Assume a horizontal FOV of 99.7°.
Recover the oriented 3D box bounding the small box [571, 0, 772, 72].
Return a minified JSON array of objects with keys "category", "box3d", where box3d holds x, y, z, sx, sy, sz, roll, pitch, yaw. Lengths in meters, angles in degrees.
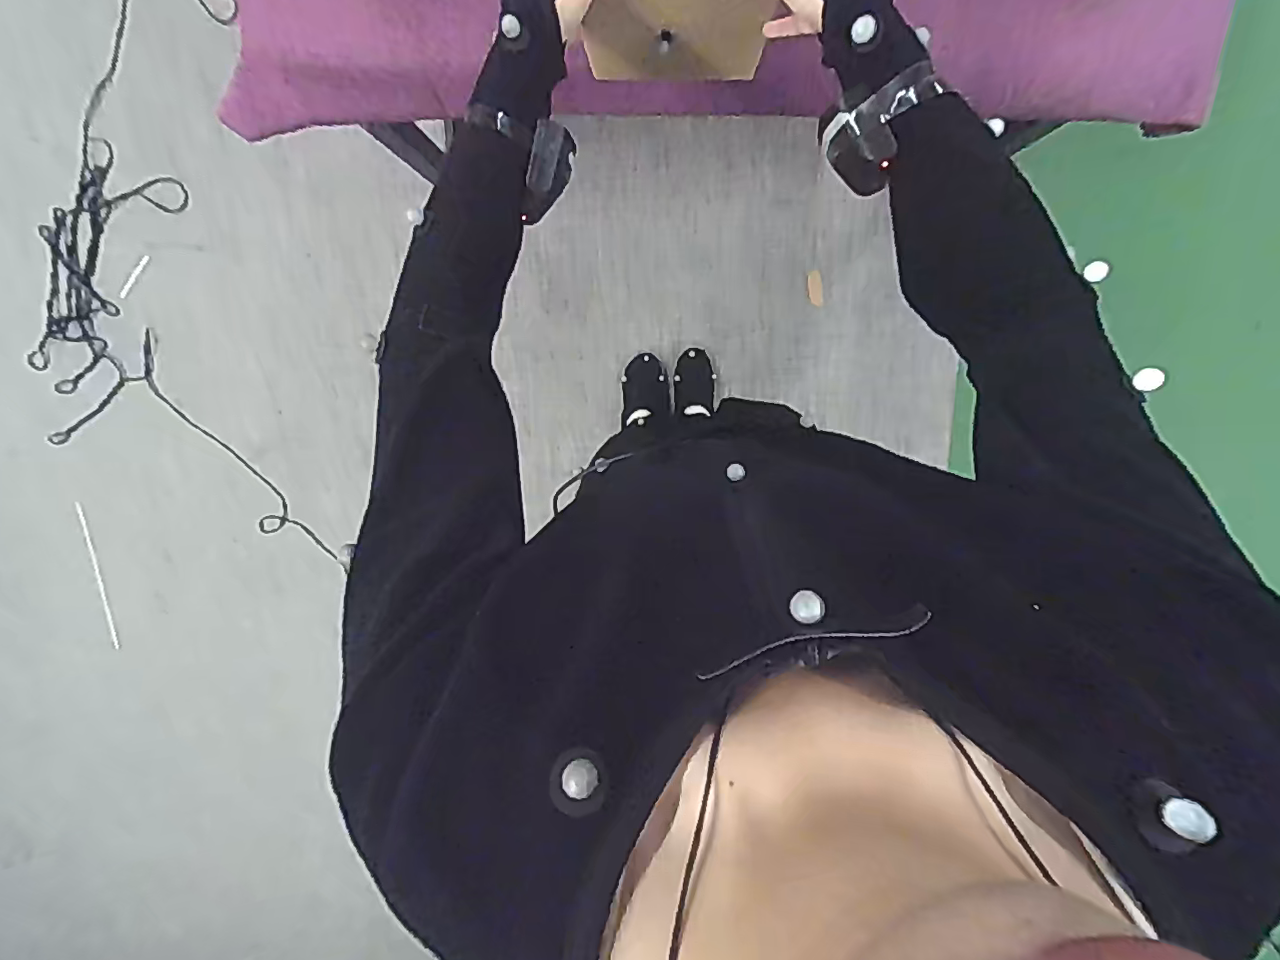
[{"category":"small box","box3d":[0.033,-0.500,0.488,0.179,0.176,0.168,3,105,4]}]
